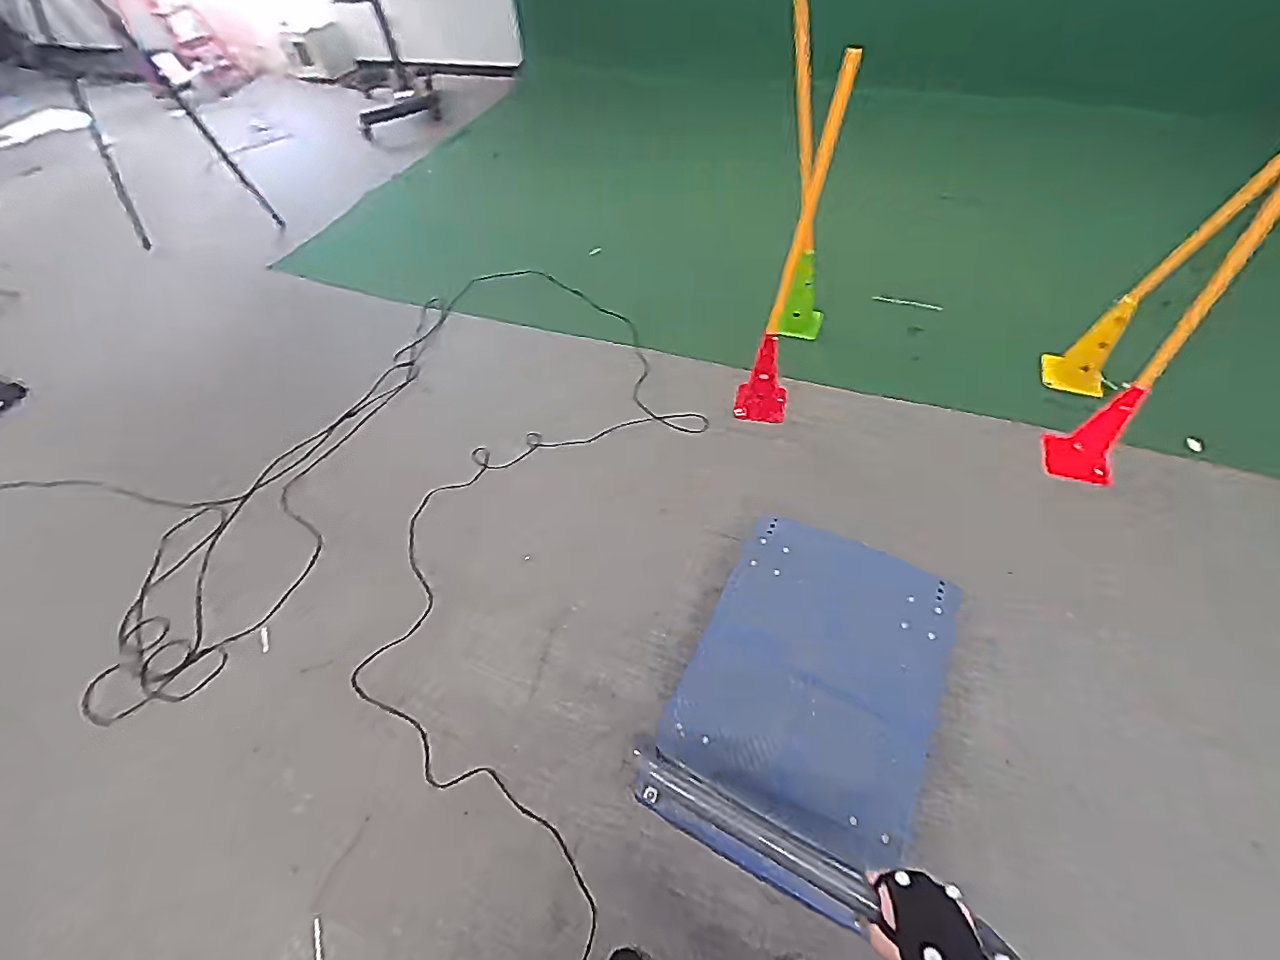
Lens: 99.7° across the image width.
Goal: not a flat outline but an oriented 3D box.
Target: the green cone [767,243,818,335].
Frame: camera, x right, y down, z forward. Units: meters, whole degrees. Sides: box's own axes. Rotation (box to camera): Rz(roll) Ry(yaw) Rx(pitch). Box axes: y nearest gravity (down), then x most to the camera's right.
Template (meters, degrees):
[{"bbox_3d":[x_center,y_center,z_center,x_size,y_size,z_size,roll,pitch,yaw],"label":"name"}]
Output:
[{"bbox_3d":[0.682,-0.834,2.324,0.200,0.368,0.202,14,55,16],"label":"green cone"}]

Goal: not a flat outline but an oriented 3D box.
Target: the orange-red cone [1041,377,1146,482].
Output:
[{"bbox_3d":[1.518,-0.192,1.771,0.198,0.360,0.199,16,54,15],"label":"orange-red cone"}]
